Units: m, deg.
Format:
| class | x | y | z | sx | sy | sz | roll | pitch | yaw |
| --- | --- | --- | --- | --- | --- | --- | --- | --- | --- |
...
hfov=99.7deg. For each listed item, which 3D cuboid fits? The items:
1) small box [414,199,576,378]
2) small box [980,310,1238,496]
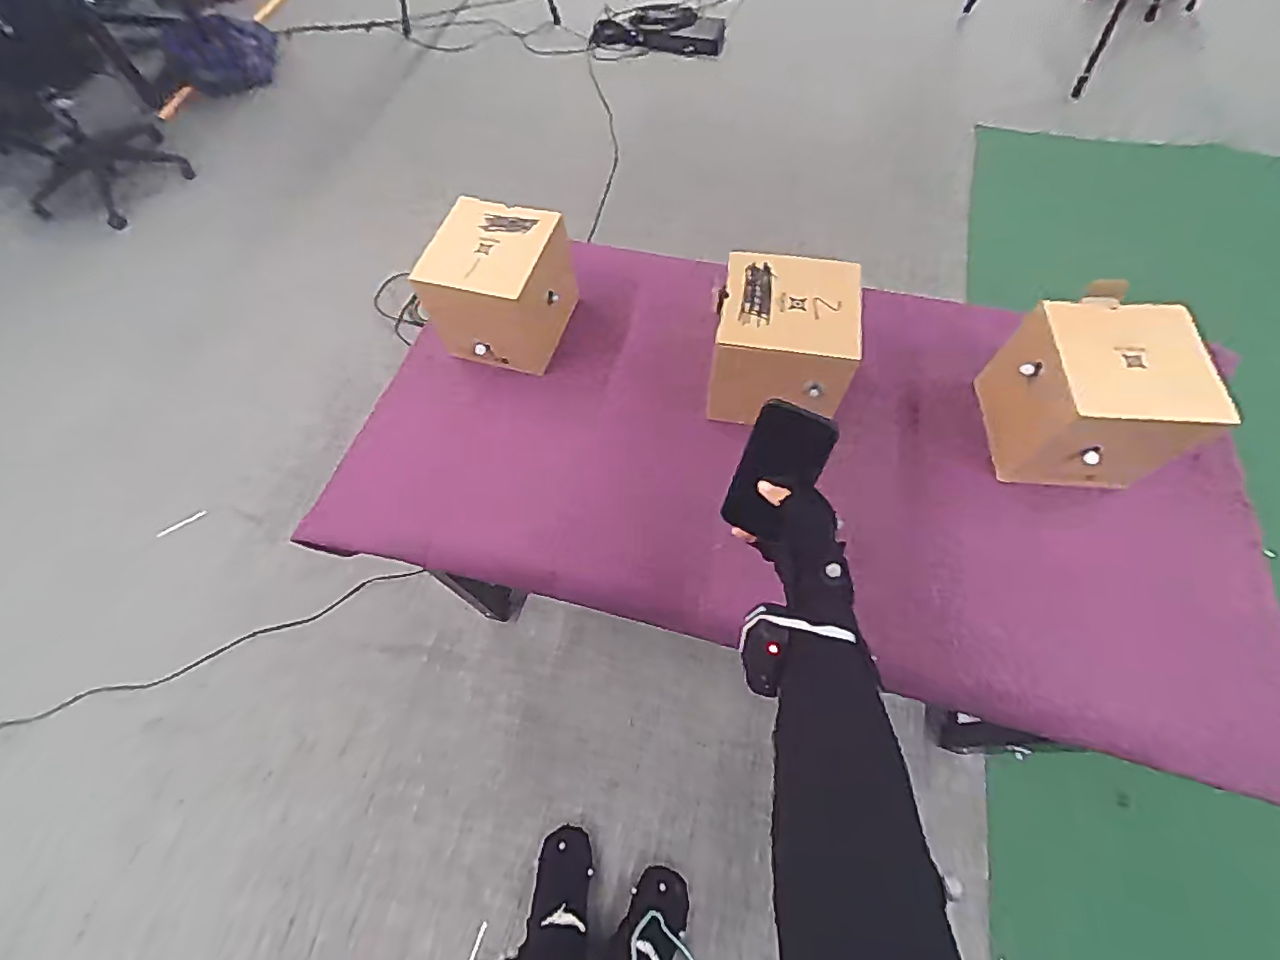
| class | x | y | z | sx | sy | sz | roll | pitch | yaw |
| --- | --- | --- | --- | --- | --- | --- | --- | --- | --- |
| small box | -0.205 | -0.289 | 0.830 | 0.168 | 0.176 | 0.179 | 15 | 66 | 10 |
| small box | 0.573 | -0.092 | 0.695 | 0.168 | 0.176 | 0.179 | 4 | 62 | 5 |
